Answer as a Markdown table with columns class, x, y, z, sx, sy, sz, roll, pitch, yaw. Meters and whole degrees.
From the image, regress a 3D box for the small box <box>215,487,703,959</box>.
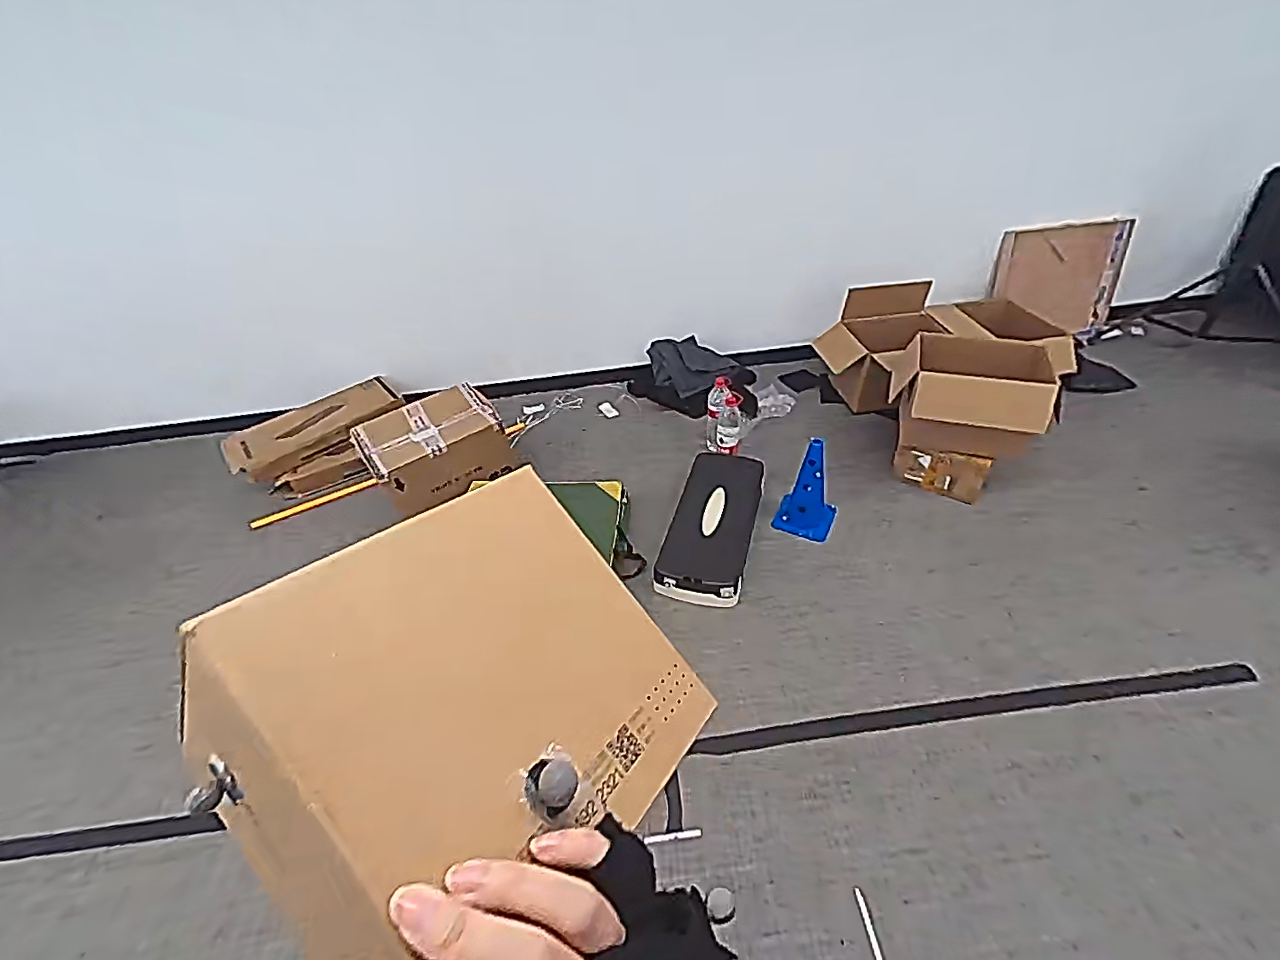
| class | x | y | z | sx | sy | sz | roll | pitch | yaw |
| --- | --- | --- | --- | --- | --- | --- | --- | --- | --- |
| small box | -0.100 | 0.140 | 0.303 | 0.176 | 0.179 | 0.168 | 49 | 40 | 6 |
